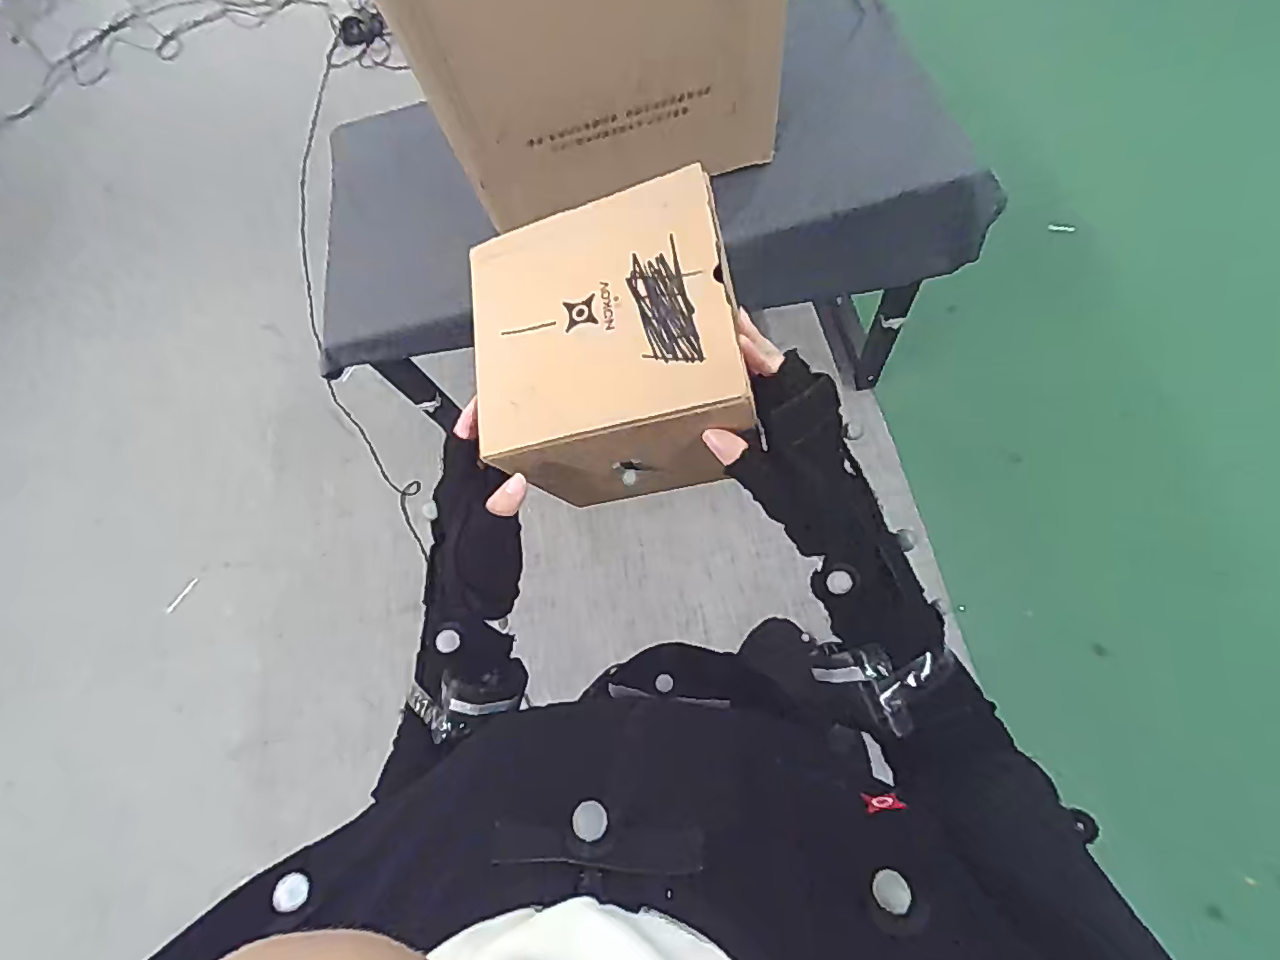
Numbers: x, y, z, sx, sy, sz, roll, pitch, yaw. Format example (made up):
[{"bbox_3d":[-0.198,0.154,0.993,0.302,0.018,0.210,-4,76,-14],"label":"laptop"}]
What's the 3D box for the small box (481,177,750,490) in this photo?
[{"bbox_3d":[-0.009,-0.099,0.444,0.179,0.176,0.168,-11,73,14],"label":"small box"}]
